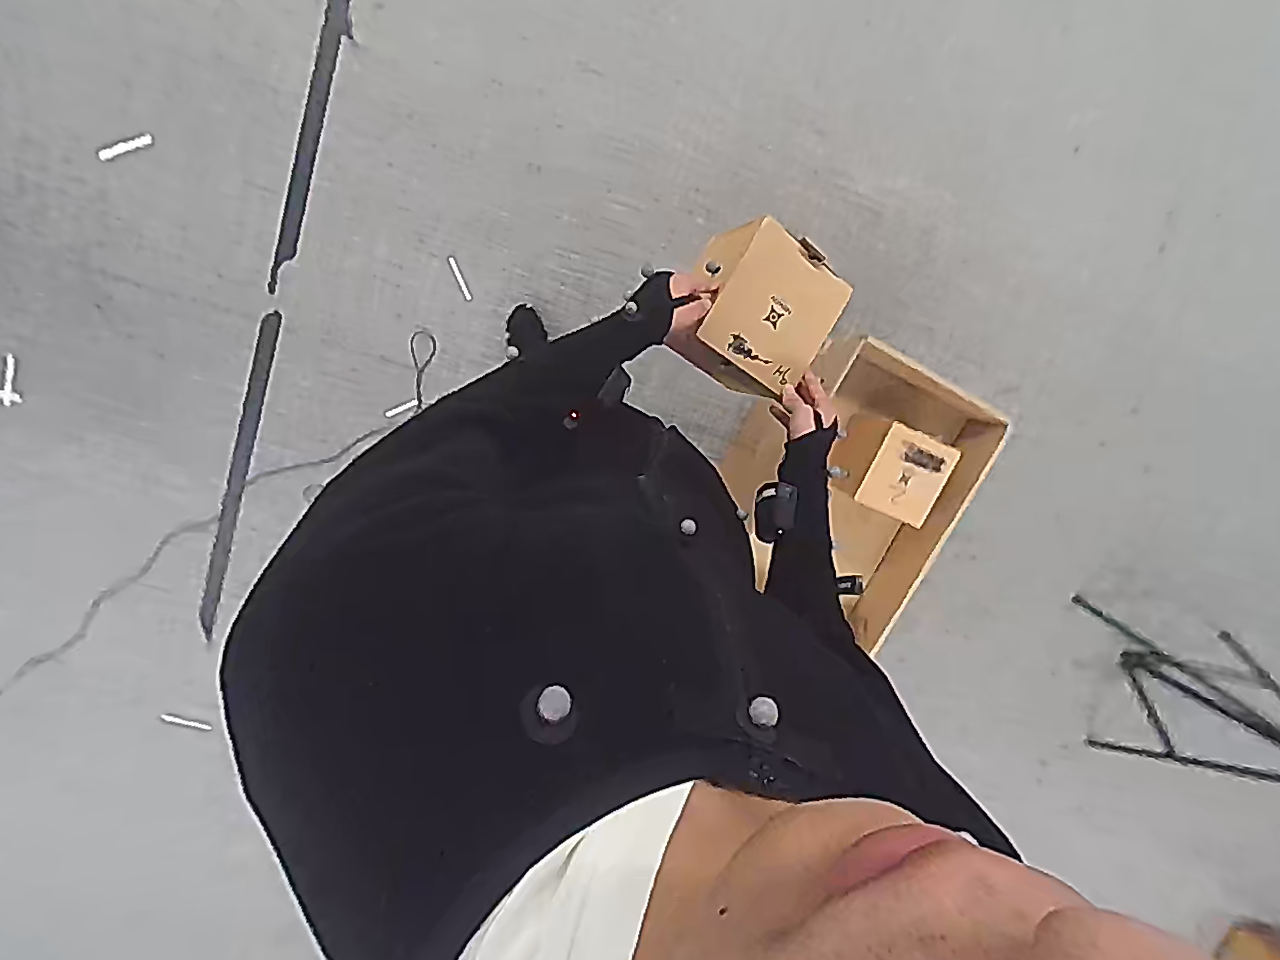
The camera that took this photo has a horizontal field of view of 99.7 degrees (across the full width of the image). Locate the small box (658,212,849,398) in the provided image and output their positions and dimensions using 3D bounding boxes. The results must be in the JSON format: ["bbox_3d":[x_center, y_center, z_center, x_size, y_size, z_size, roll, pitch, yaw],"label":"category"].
[{"bbox_3d":[0.149,-0.238,0.770,0.168,0.176,0.179,29,93,-21],"label":"small box"}]
